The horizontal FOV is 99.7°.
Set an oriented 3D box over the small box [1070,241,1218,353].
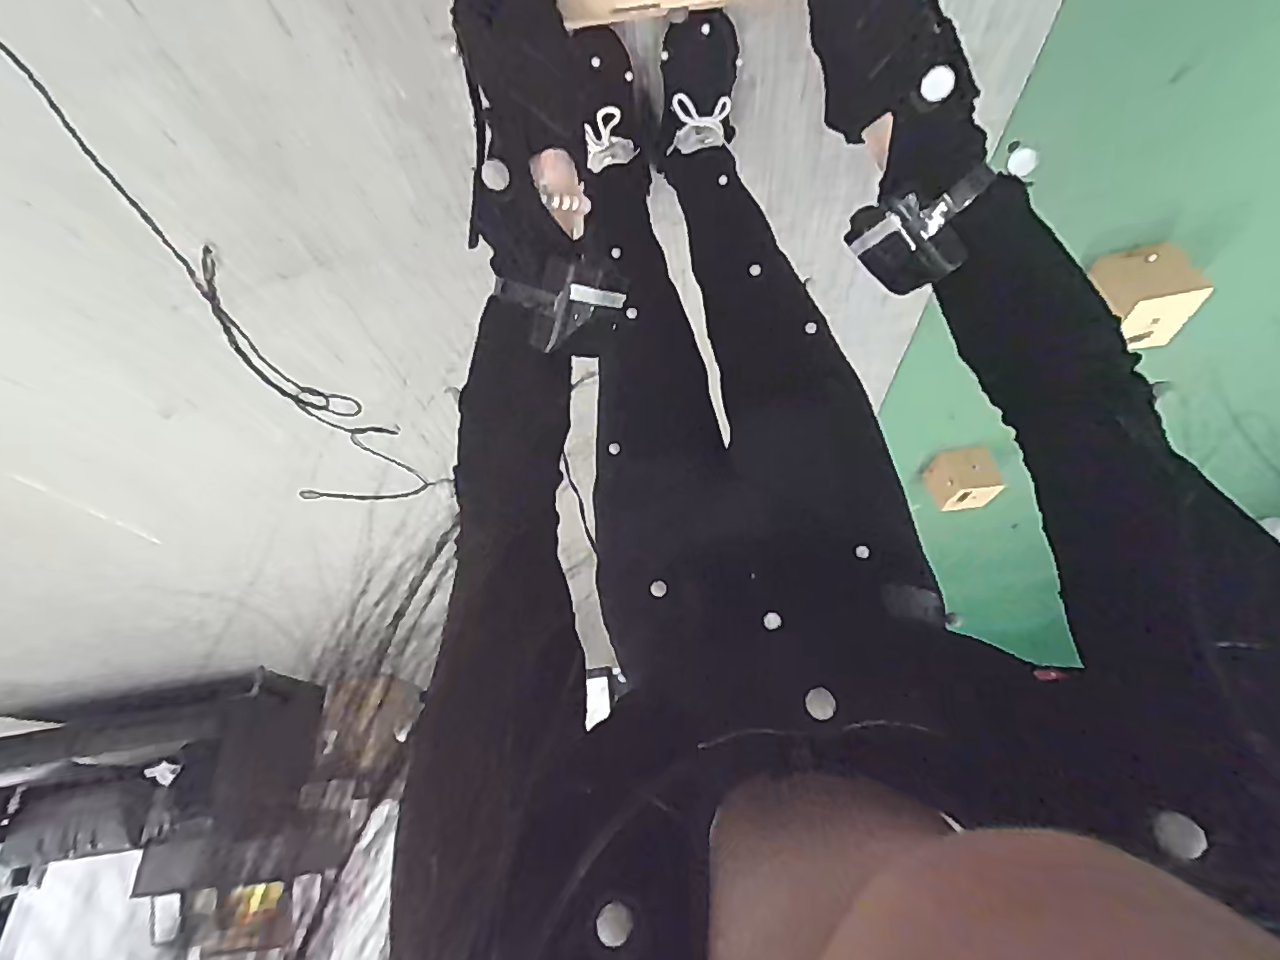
[{"bbox_3d":[1.186,-0.436,1.296,0.168,0.176,0.179,-10,148,4],"label":"small box"}]
